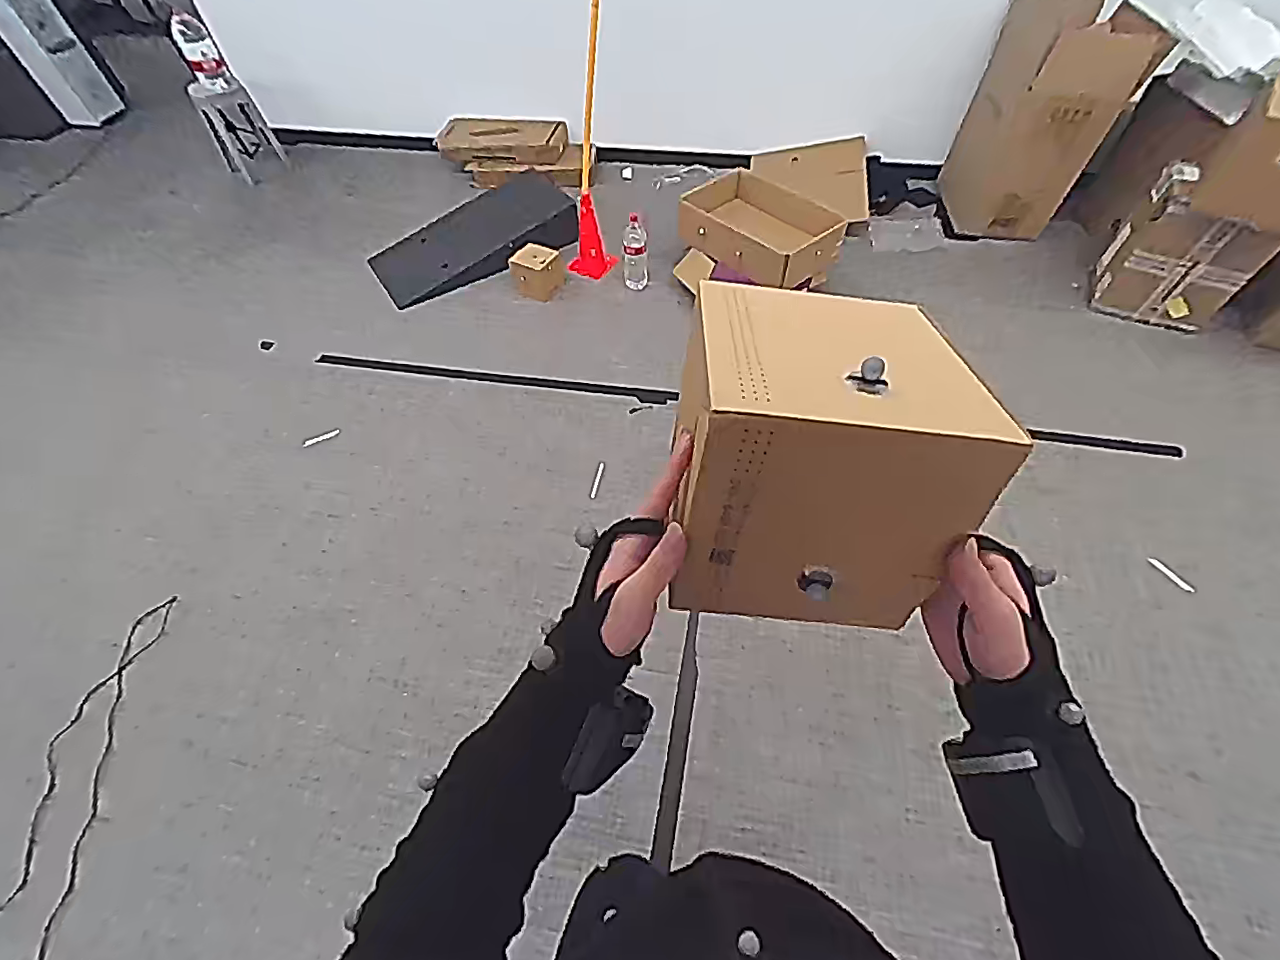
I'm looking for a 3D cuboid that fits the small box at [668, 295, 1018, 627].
[{"bbox_3d":[0.112,-0.018,0.394,0.176,0.168,0.179,6,41,-3],"label":"small box"}]
